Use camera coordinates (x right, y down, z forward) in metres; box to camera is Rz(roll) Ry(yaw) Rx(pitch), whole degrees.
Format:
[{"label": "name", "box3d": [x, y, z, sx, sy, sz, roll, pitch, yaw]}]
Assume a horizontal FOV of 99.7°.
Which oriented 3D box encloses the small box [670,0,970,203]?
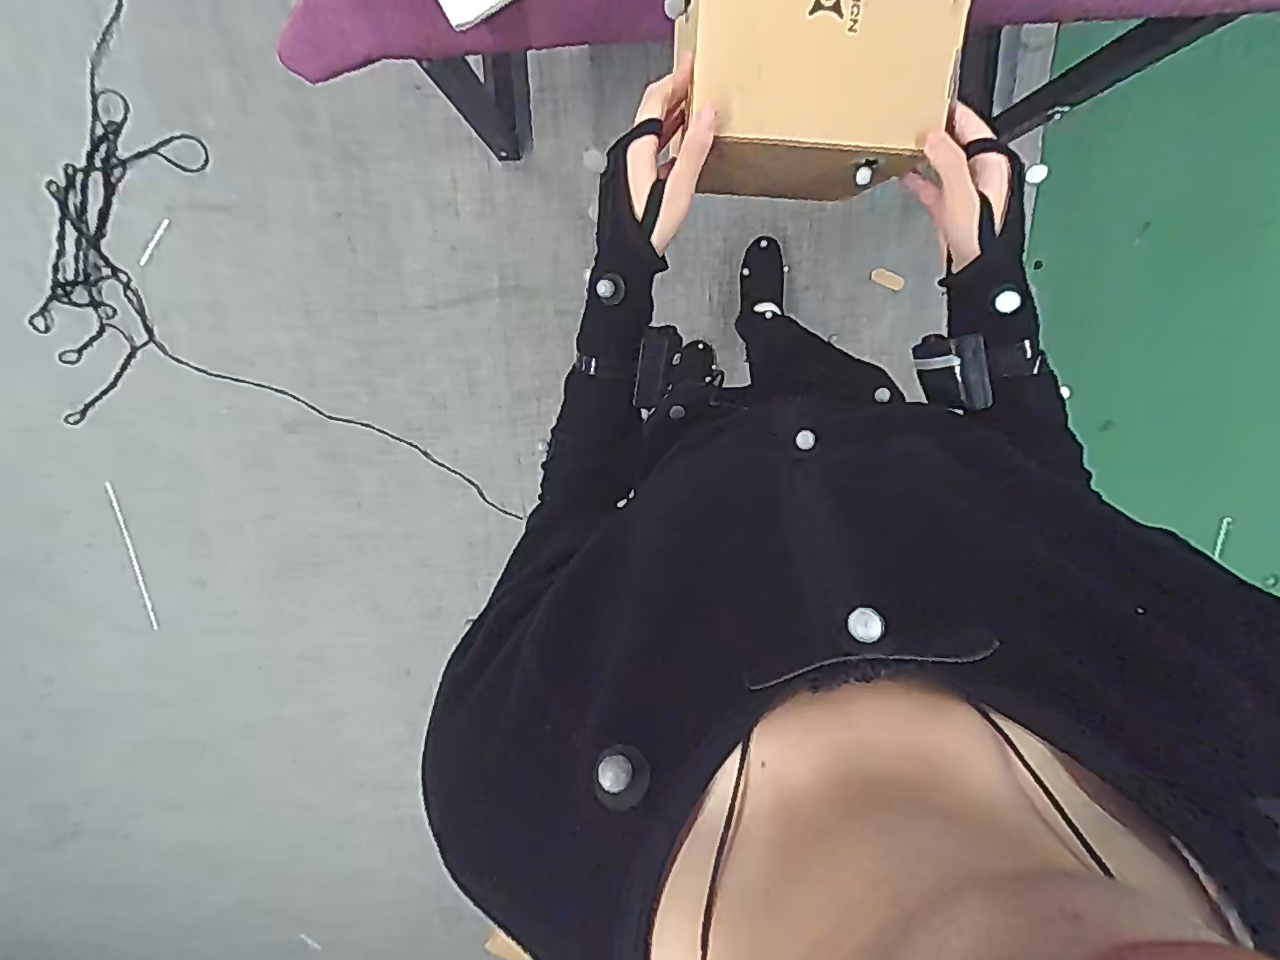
[{"label": "small box", "box3d": [0.119, -0.323, 0.416, 0.179, 0.176, 0.168, 1, 106, -4]}]
